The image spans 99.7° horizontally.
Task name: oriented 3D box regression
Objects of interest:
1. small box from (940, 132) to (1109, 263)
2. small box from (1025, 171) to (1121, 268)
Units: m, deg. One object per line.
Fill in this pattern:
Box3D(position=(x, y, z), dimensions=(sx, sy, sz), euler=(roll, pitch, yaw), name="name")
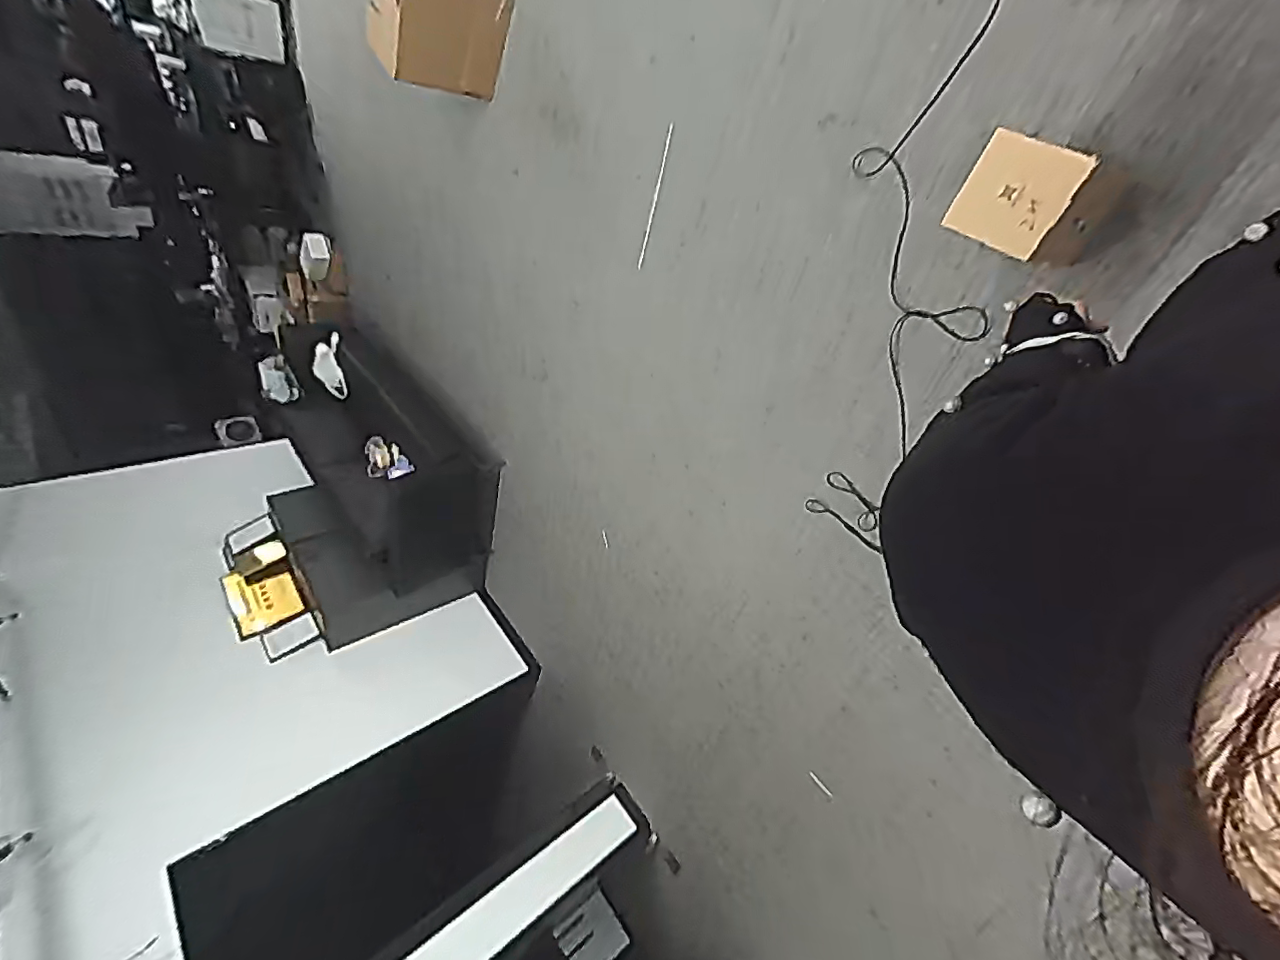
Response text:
Box3D(position=(0.711, -0.515, 1.003), dimensions=(0.179, 0.176, 0.168), euler=(45, 134, 28), name="small box")
Box3D(position=(0.833, -0.550, 1.107), dimensions=(0.168, 0.176, 0.179), euler=(44, 132, 29), name="small box")
